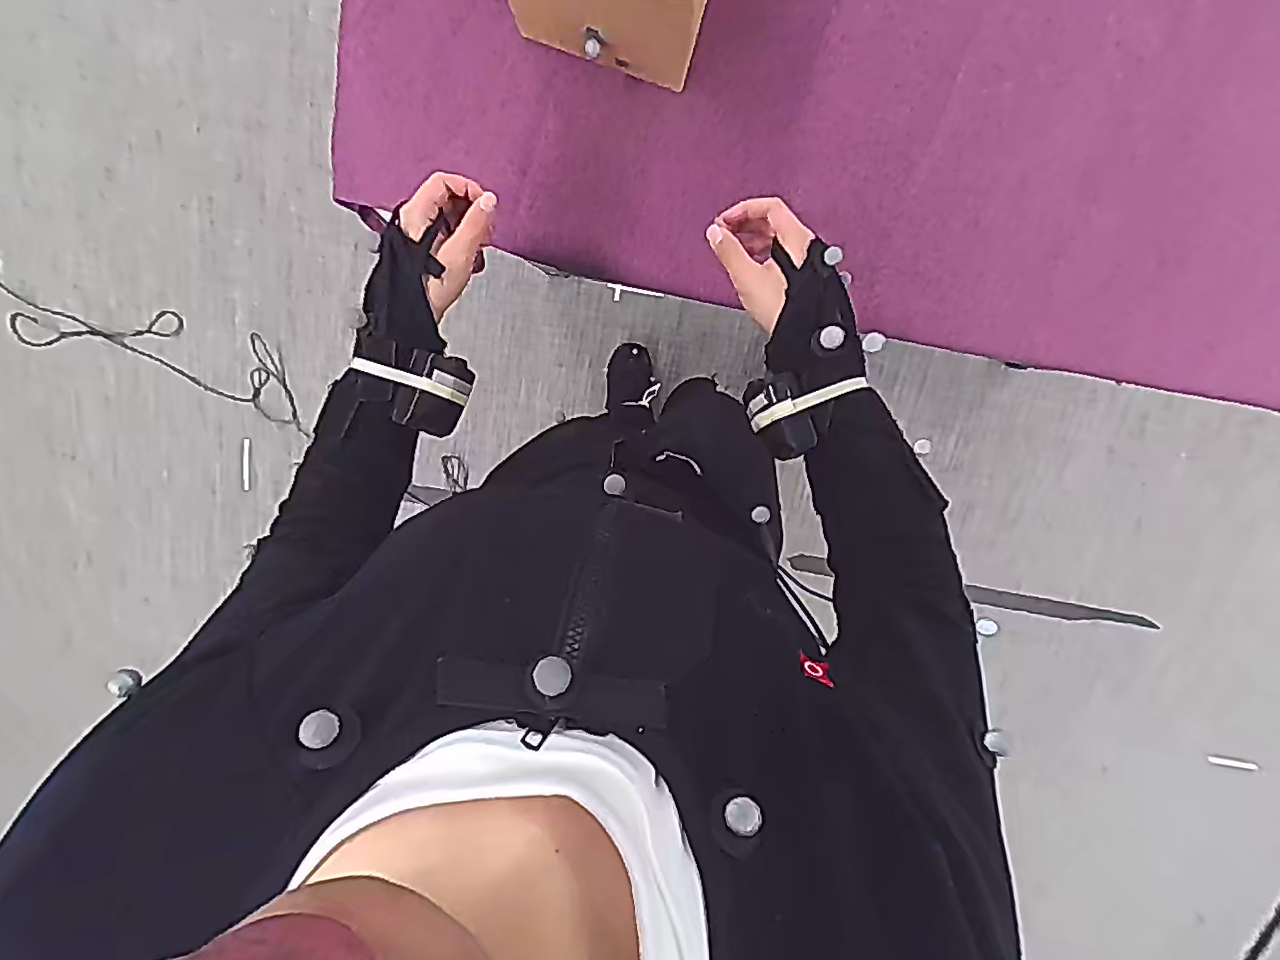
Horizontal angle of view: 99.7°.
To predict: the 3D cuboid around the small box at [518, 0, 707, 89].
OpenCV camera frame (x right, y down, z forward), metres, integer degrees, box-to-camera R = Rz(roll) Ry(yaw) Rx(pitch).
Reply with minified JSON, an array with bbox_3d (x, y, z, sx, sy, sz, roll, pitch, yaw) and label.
[{"bbox_3d":[-0.012,-0.468,0.435,0.168,0.176,0.179,17,105,-5],"label":"small box"}]
